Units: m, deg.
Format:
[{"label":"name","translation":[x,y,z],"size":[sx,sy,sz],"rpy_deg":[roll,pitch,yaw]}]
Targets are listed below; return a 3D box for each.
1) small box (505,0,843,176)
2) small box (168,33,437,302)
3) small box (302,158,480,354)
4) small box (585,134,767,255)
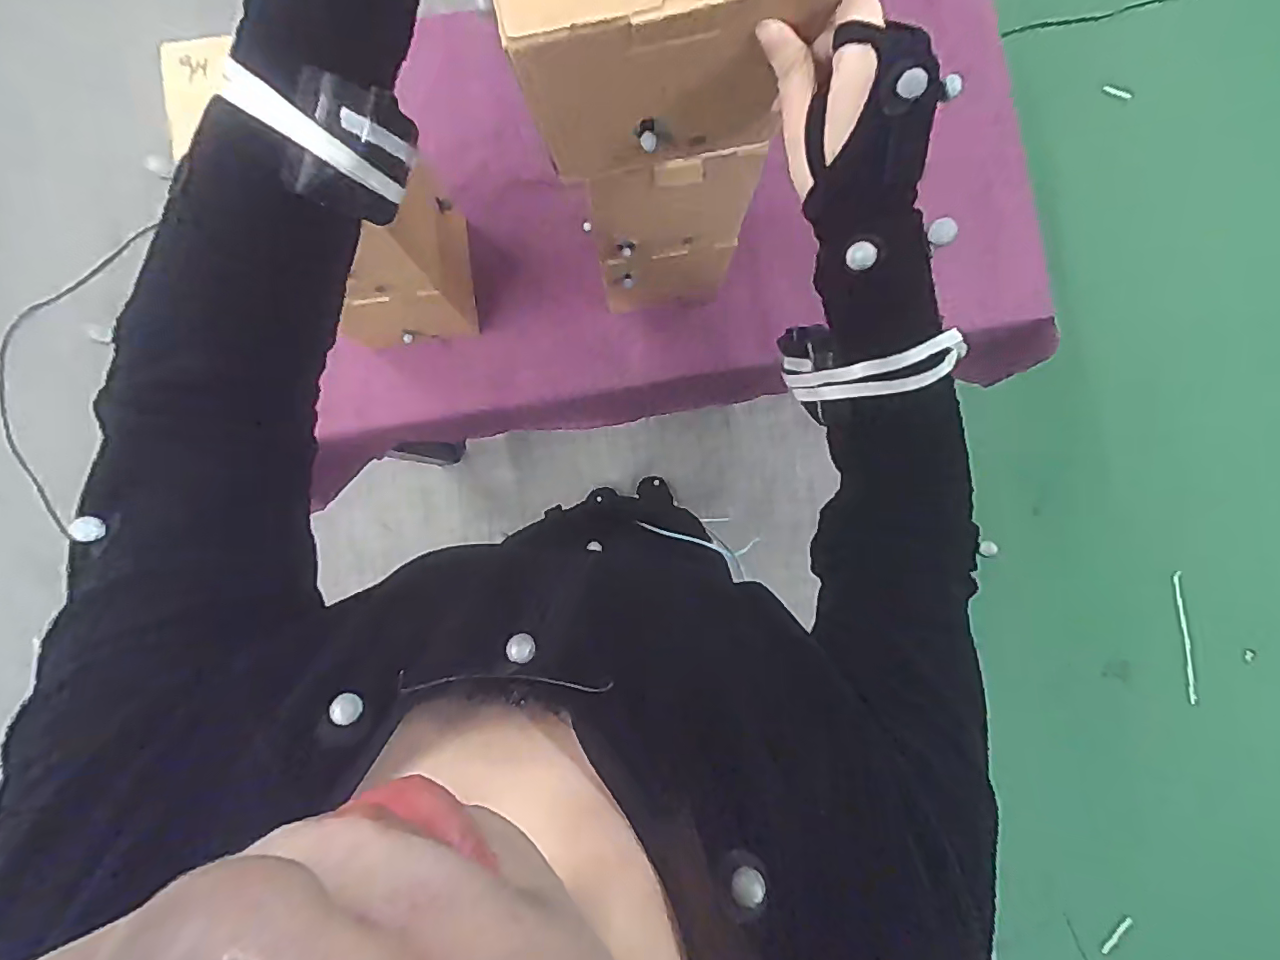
[{"label":"small box","translation":[0.005,-0.314,0.317],"size":[0.168,0.176,0.179],"rpy_deg":[-10,99,2]},{"label":"small box","translation":[-0.322,-0.295,0.551],"size":[0.168,0.176,0.179],"rpy_deg":[-8,88,-2]},{"label":"small box","translation":[-0.324,-0.283,0.716],"size":[0.168,0.176,0.179],"rpy_deg":[-8,87,-1]},{"label":"small box","translation":[0.020,-0.353,0.559],"size":[0.168,0.176,0.179],"rpy_deg":[-10,86,-1]}]
